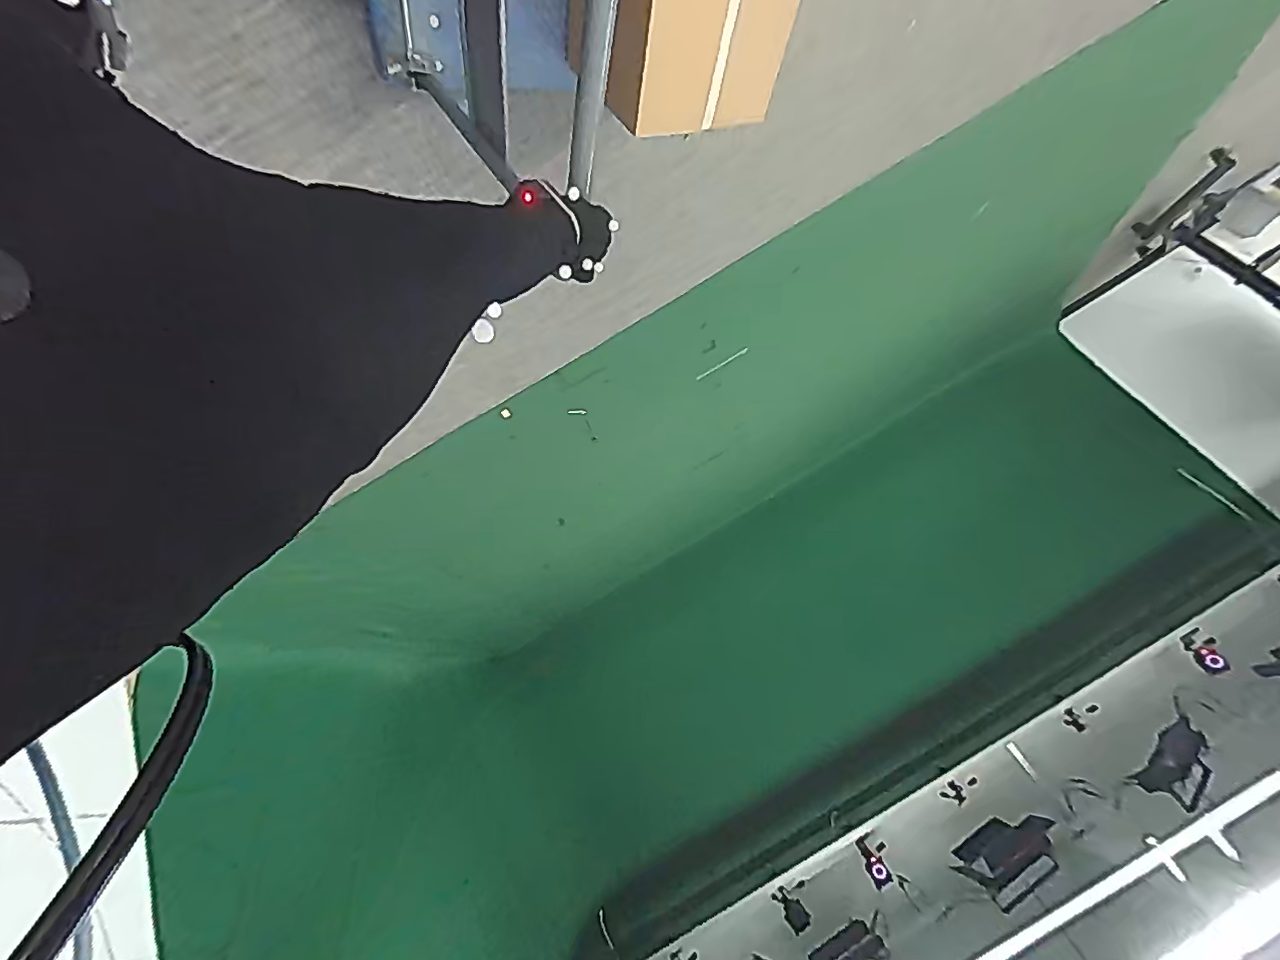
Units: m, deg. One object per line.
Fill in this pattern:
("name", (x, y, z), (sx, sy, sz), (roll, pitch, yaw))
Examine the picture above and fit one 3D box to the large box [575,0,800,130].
("large box", (0.085, -0.927, 0.965), (0.320, 0.320, 0.408), (-22, 154, -21))
